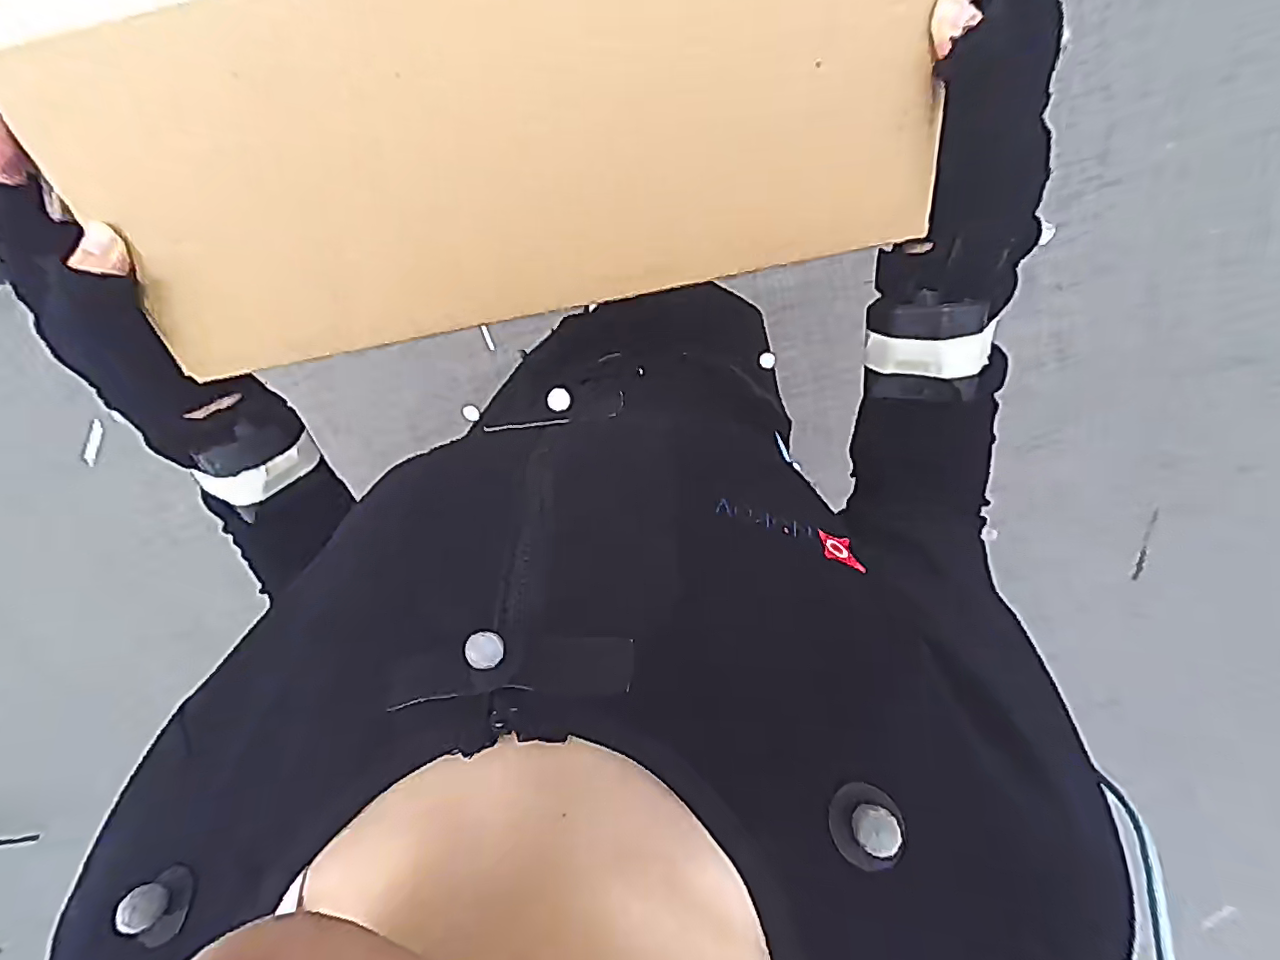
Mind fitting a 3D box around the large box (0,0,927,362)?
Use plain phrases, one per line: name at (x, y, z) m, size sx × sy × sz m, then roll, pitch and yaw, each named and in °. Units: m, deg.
large box at (-0.087, -0.309, 0.341) m, size 0.408 × 0.320 × 0.320 m, roll -10°, pitch 124°, yaw 3°
